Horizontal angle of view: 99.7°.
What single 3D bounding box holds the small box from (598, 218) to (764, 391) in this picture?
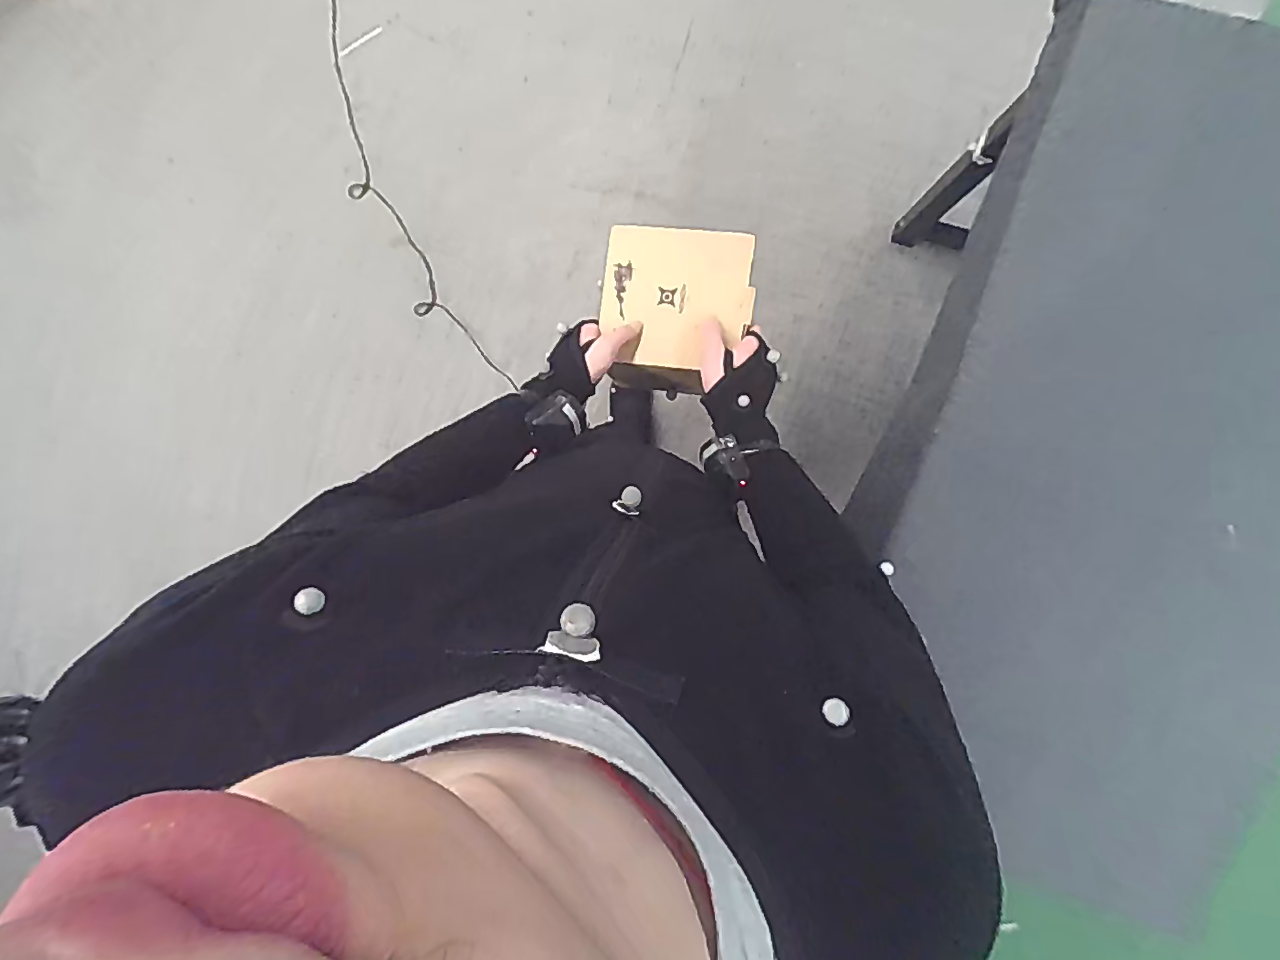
[{"bbox_3d":[0.053,-0.216,0.709,0.179,0.176,0.168,8,91,5],"label":"small box"}]
